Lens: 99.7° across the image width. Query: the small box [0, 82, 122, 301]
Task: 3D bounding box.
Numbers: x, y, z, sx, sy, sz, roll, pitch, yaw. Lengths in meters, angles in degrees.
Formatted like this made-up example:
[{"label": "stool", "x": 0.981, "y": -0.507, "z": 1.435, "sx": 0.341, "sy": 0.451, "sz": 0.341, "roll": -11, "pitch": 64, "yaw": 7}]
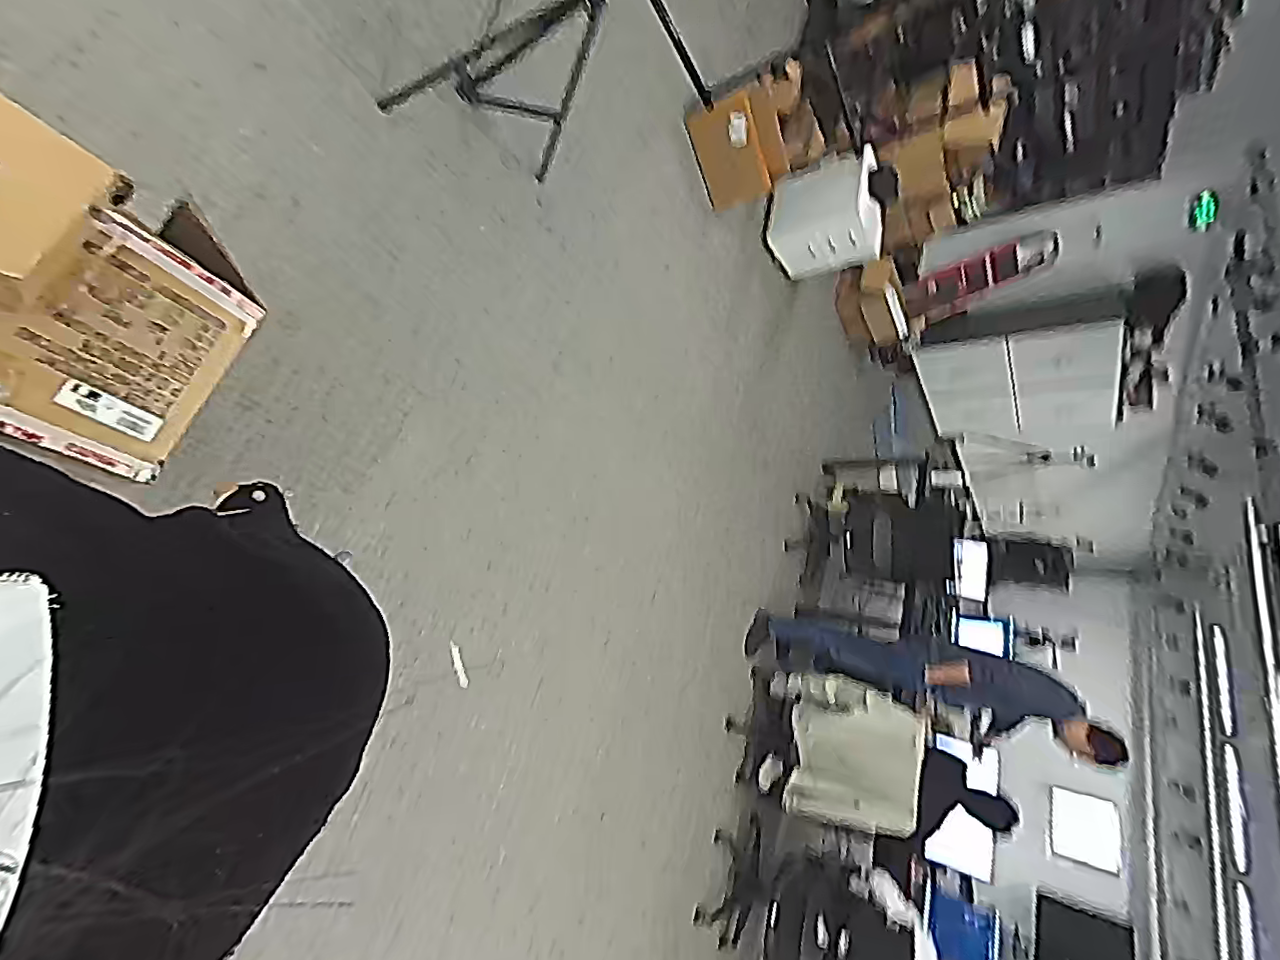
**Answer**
[{"label": "small box", "x": -0.752, "y": -0.335, "z": 0.616, "sx": 0.168, "sy": 0.176, "sz": 0.179, "roll": 37, "pitch": 65, "yaw": -42}]
